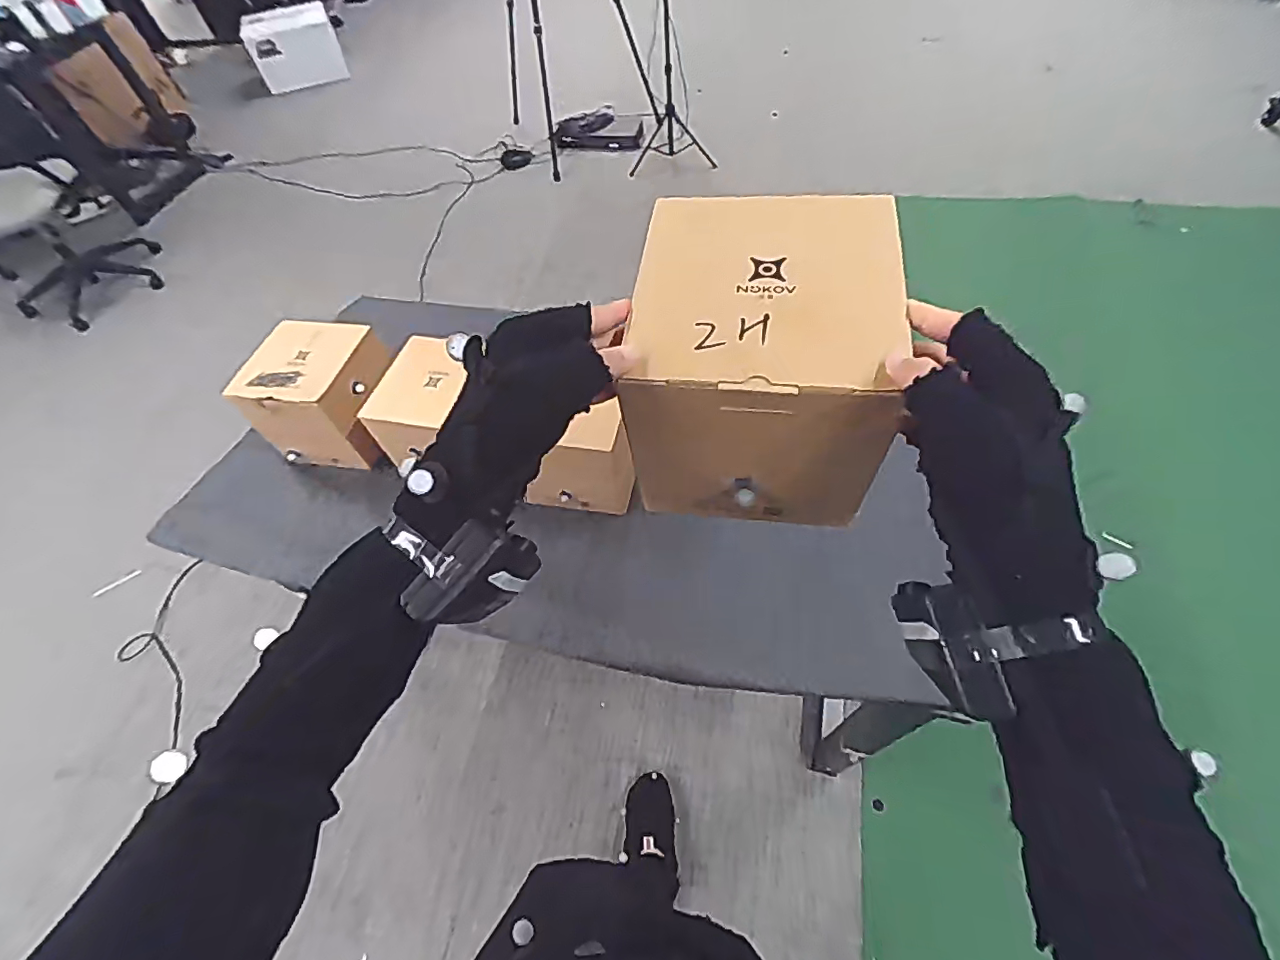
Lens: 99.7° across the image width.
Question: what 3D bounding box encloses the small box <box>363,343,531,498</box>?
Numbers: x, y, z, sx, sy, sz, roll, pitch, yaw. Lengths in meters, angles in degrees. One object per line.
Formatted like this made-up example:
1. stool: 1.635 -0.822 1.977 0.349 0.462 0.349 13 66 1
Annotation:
1. small box: -0.291 -0.092 0.865 0.168 0.176 0.179 8 56 12

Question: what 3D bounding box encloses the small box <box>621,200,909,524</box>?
1. small box: 0.090 -0.087 0.417 0.168 0.176 0.179 4 60 11

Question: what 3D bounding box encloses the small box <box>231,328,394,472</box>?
1. small box: -0.519 -0.131 0.914 0.168 0.176 0.179 6 55 9
